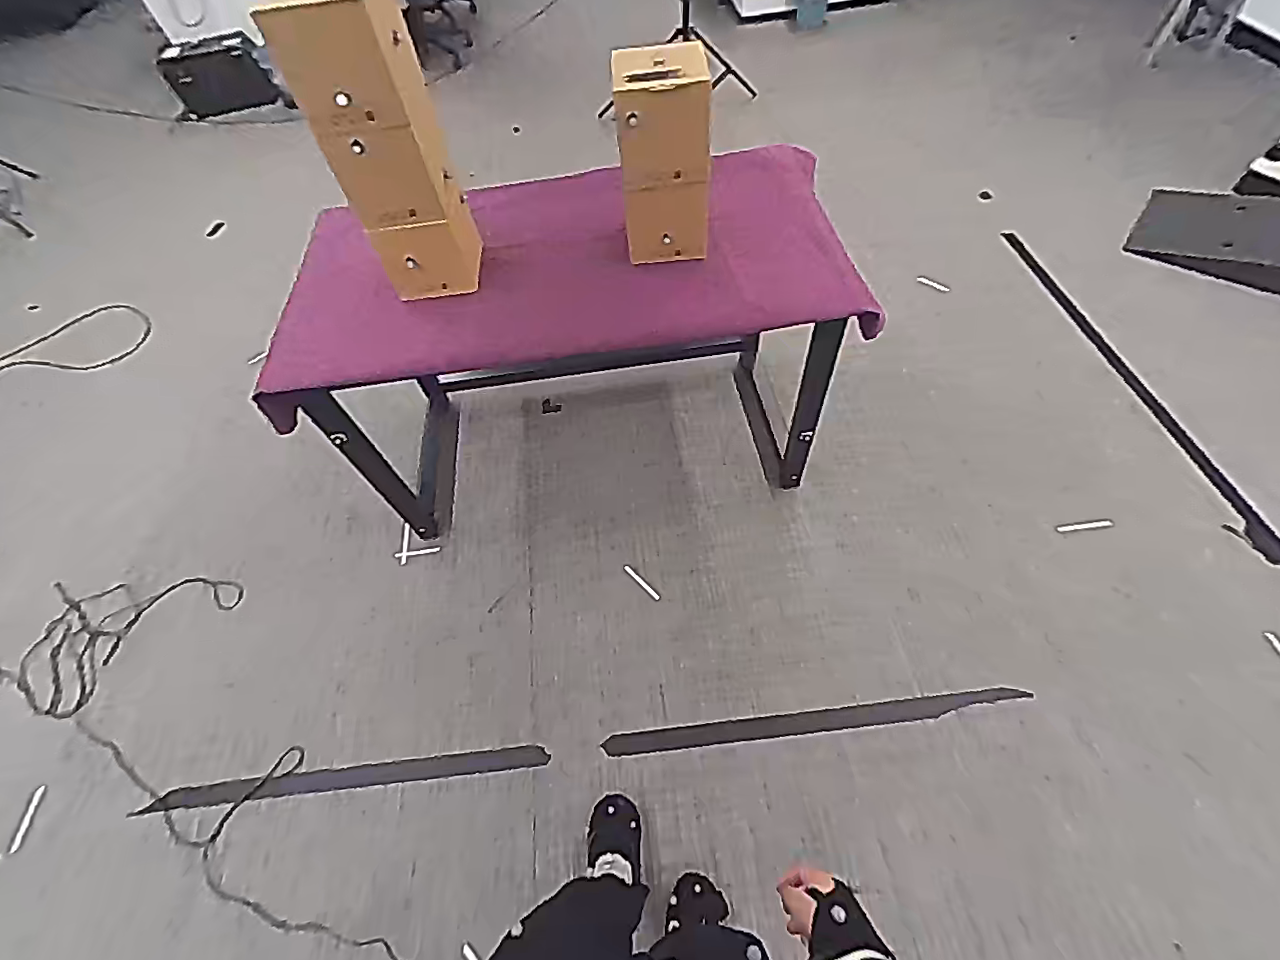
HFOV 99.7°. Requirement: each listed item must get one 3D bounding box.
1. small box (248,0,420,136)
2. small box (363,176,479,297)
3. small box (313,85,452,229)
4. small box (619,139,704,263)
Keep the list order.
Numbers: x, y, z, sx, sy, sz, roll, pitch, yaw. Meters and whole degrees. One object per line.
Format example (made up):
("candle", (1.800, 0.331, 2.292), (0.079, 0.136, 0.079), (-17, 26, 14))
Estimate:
("small box", (-0.472, -0.687, 0.869), (0.168, 0.176, 0.179), (-7, 57, 1))
("small box", (-0.450, -0.504, 1.142), (0.168, 0.176, 0.179), (-7, 56, 1))
("small box", (-0.464, -0.599, 1.008), (0.168, 0.176, 0.179), (-8, 56, 1))
("small box", (0.047, -0.588, 1.147), (0.168, 0.176, 0.179), (-4, 57, 4))
